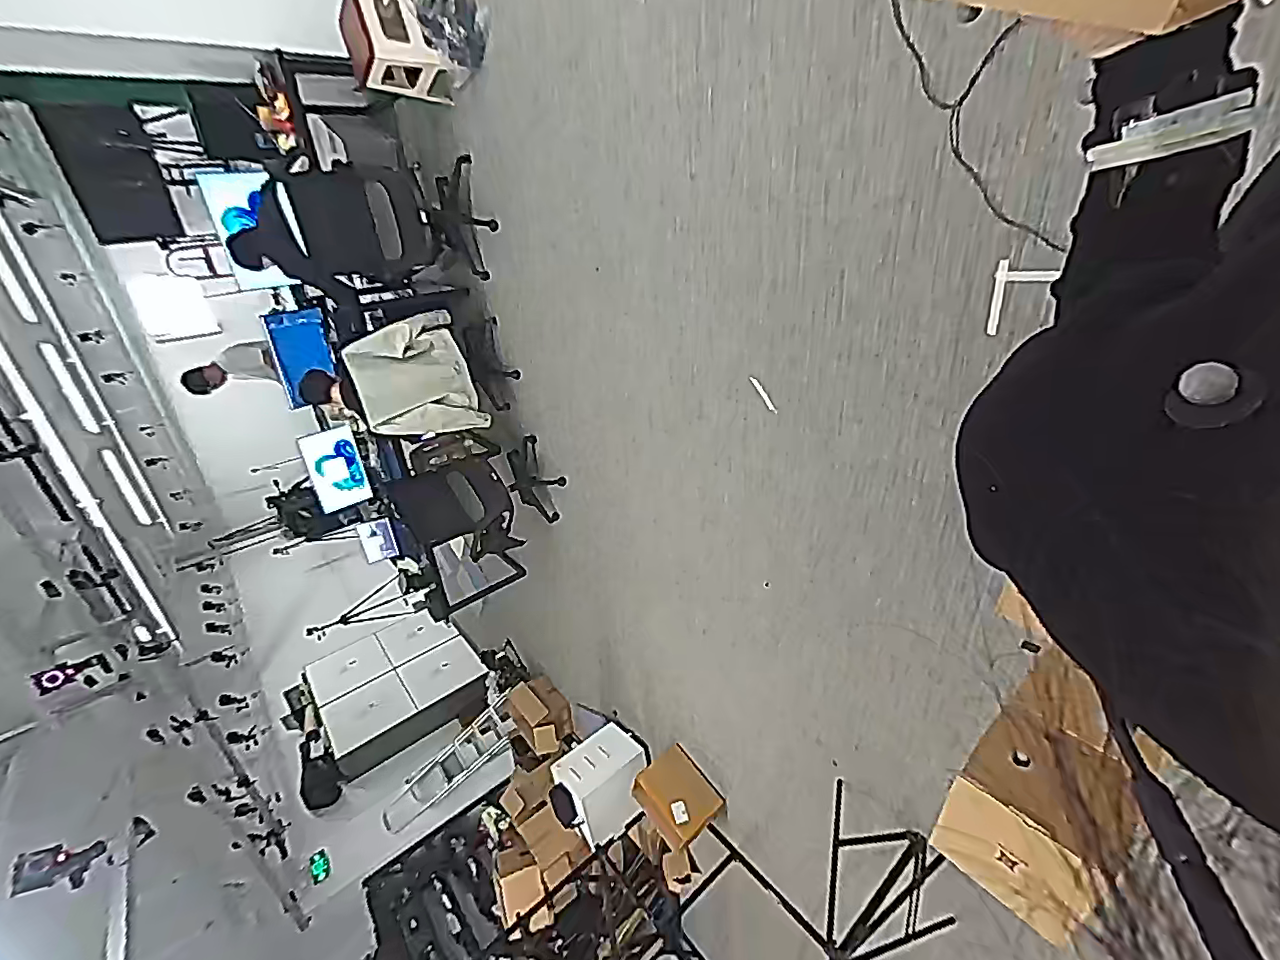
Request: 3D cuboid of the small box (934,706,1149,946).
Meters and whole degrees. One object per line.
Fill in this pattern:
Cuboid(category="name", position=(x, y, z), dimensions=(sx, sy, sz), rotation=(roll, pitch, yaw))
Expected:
Cuboid(category="small box", position=(0.530, 0.443, 0.719), dimensions=(0.168, 0.176, 0.179), rotation=(29, 135, 44))

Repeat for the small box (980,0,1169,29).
Cuboid(category="small box", position=(0.212, -0.322, 0.228), dimensions=(0.179, 0.176, 0.168), rotation=(42, 153, 29))

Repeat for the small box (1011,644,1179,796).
Cuboid(category="small box", position=(0.653, 0.382, 0.805), dimensions=(0.168, 0.176, 0.179), rotation=(29, 133, 43))
